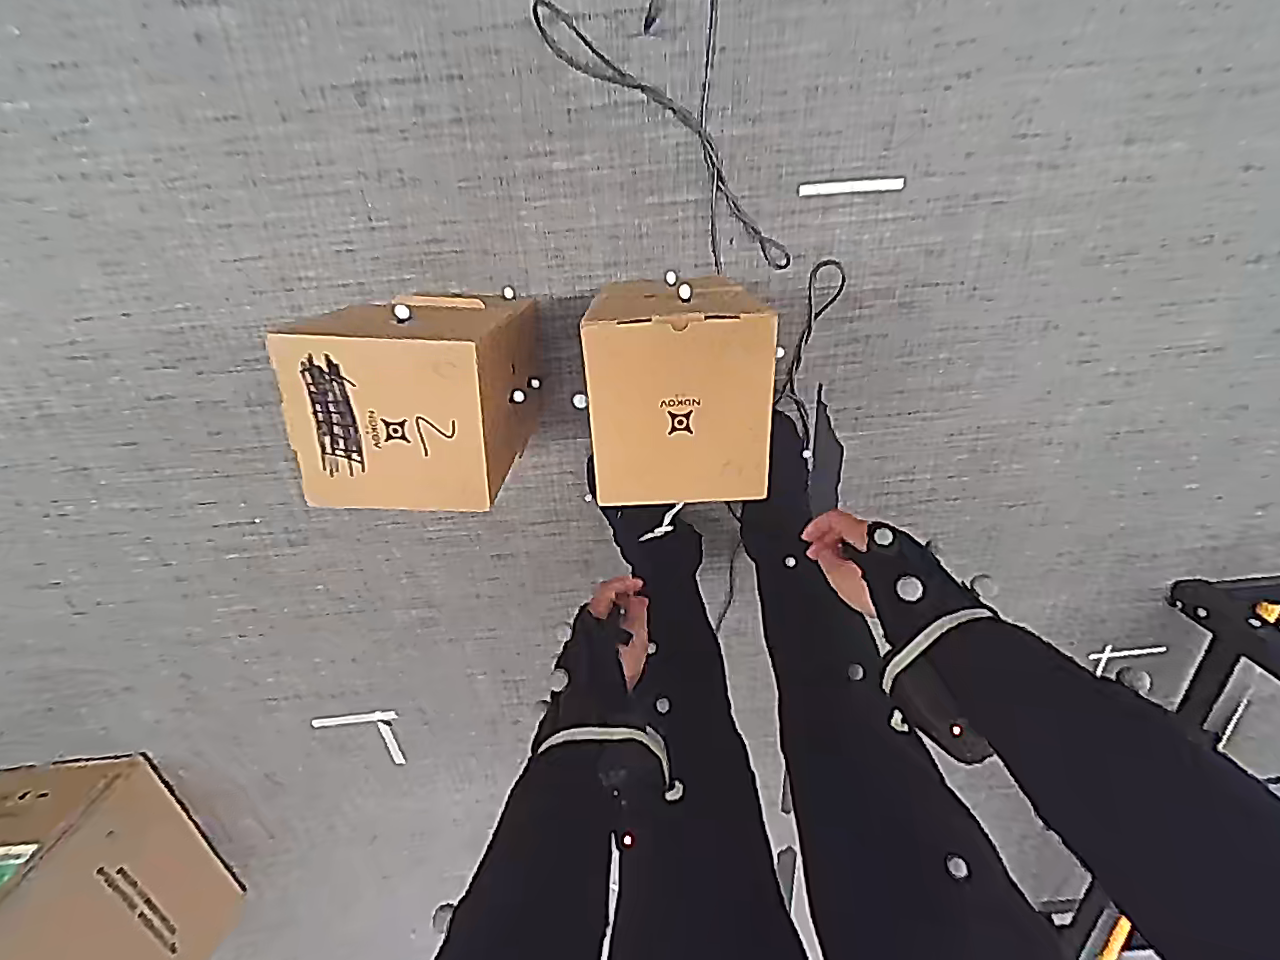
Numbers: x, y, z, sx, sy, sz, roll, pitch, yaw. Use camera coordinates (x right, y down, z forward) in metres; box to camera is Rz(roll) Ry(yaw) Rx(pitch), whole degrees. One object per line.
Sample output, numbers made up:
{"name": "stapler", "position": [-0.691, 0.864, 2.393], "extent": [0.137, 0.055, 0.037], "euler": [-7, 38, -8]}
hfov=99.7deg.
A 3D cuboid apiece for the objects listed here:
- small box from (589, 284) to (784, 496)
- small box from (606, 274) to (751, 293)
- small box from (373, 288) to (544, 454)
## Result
{"name": "small box", "position": [0.042, -0.099, 0.554], "extent": [0.168, 0.176, 0.179], "euler": [-2, 115, 1]}
{"name": "small box", "position": [0.044, -0.169, 0.701], "extent": [0.168, 0.176, 0.179], "euler": [-2, 116, 2]}
{"name": "small box", "position": [-0.220, -0.148, 0.706], "extent": [0.168, 0.176, 0.179], "euler": [2, 117, -2]}
